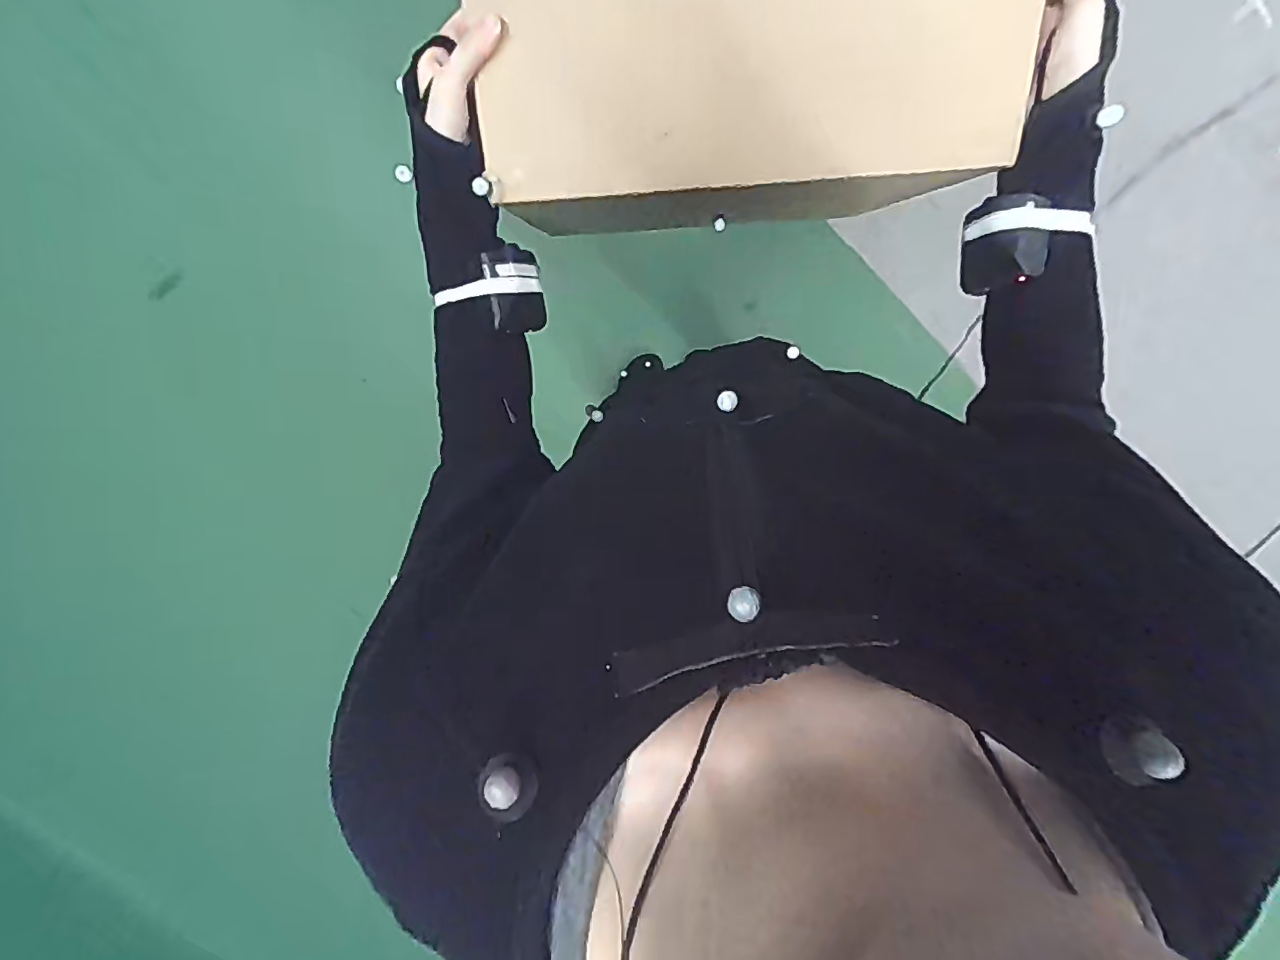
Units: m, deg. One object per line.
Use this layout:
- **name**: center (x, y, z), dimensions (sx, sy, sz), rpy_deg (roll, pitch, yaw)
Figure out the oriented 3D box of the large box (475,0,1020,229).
- **large box**: center (0.078, -0.433, 0.518), dimensions (0.408, 0.320, 0.320), rpy_deg (-3, 109, 2)
